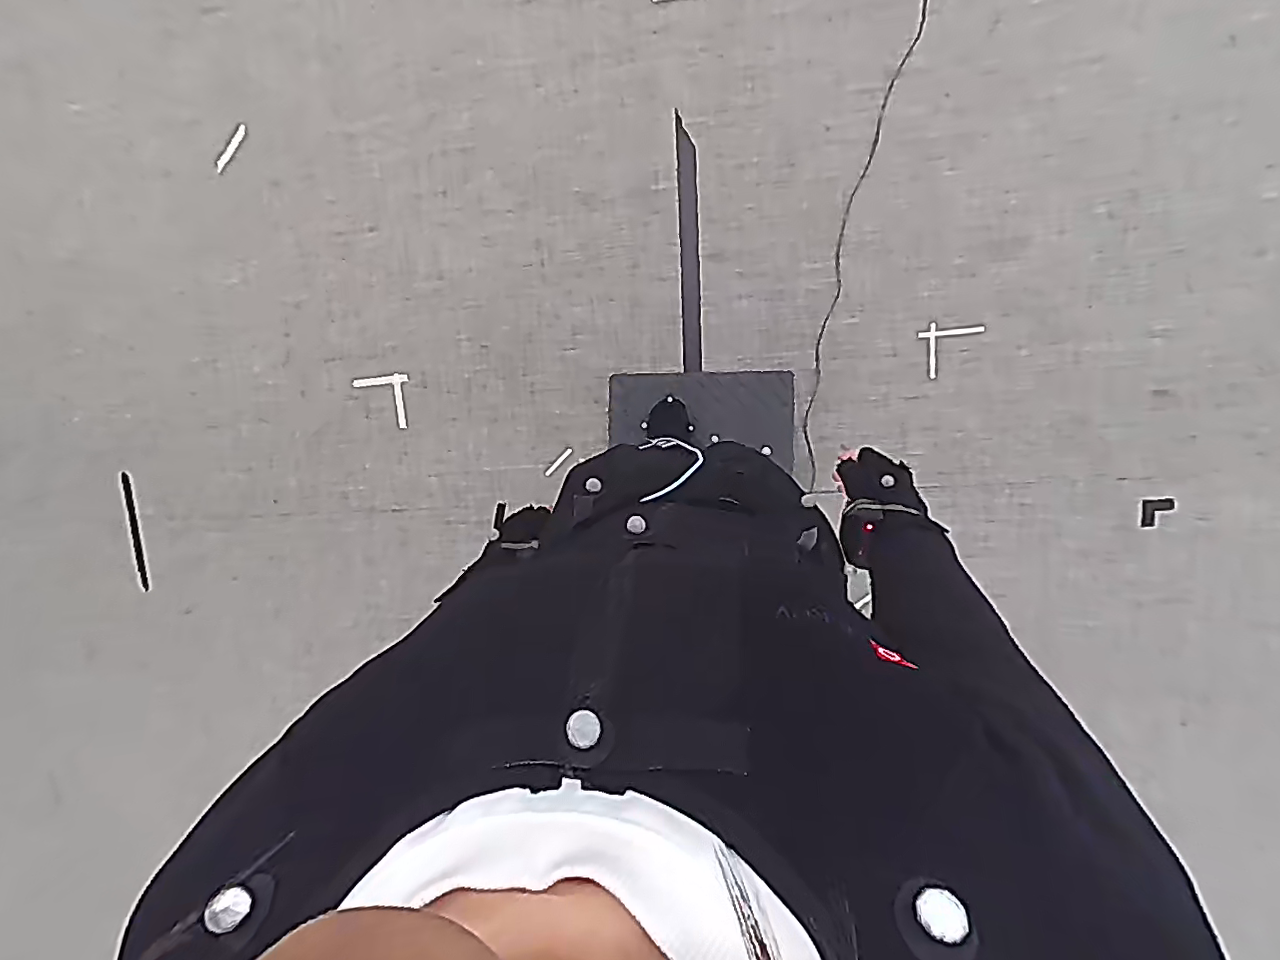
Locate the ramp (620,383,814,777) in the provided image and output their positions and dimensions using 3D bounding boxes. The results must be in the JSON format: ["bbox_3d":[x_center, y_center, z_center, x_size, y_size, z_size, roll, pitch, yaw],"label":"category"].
[{"bbox_3d":[0.186,0.243,1.421,0.509,0.206,0.991,-3,94,10],"label":"ramp"}]
